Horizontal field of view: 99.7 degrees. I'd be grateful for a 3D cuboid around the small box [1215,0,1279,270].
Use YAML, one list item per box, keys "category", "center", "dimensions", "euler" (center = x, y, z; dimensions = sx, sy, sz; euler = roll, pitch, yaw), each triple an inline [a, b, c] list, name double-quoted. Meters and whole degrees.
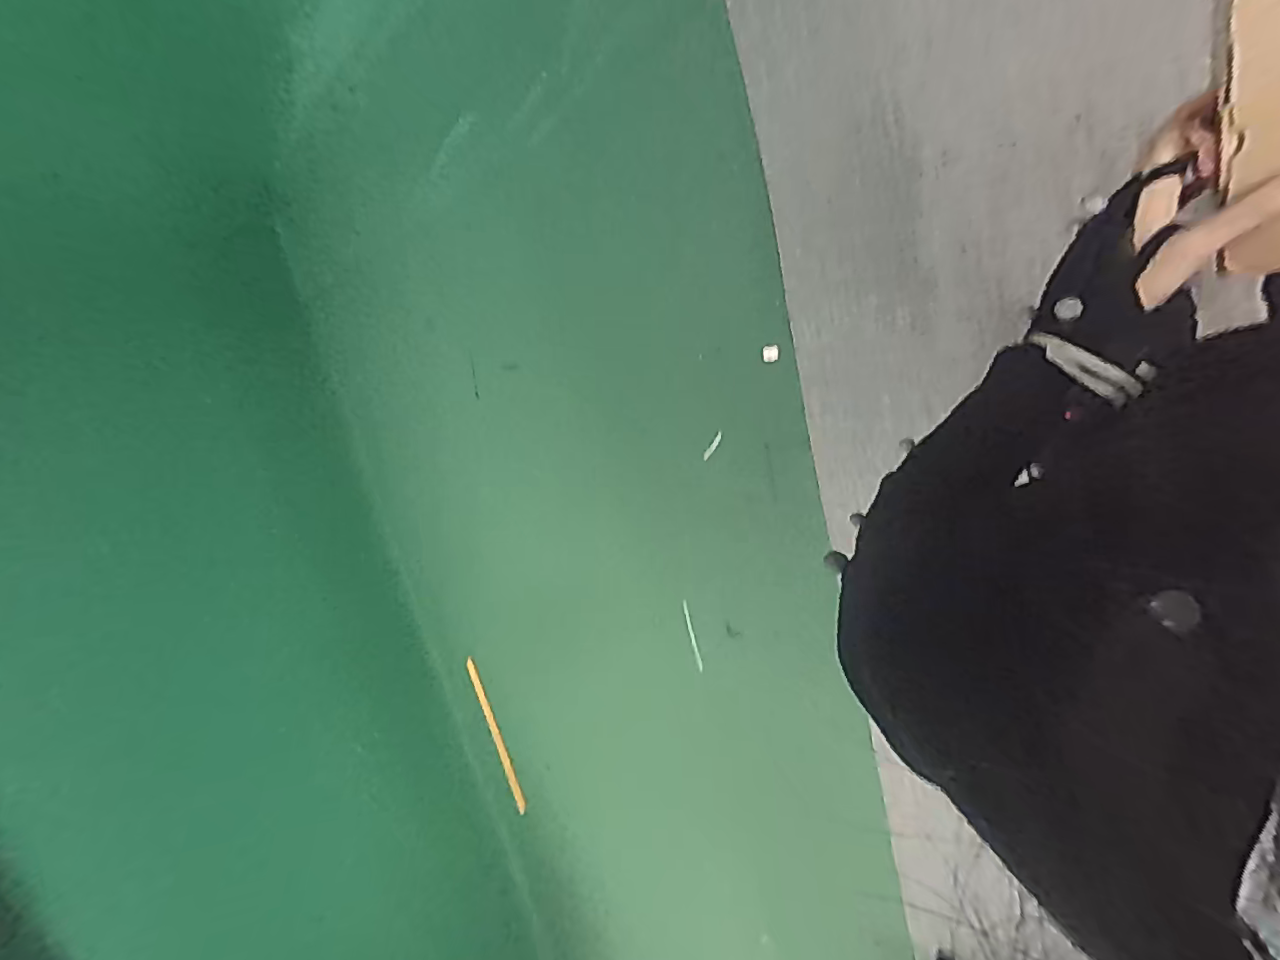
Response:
- category: "small box"
  center: [0.456, -0.251, 0.302]
  dimensions: [0.179, 0.176, 0.168]
  euler: [-2, 127, 45]
